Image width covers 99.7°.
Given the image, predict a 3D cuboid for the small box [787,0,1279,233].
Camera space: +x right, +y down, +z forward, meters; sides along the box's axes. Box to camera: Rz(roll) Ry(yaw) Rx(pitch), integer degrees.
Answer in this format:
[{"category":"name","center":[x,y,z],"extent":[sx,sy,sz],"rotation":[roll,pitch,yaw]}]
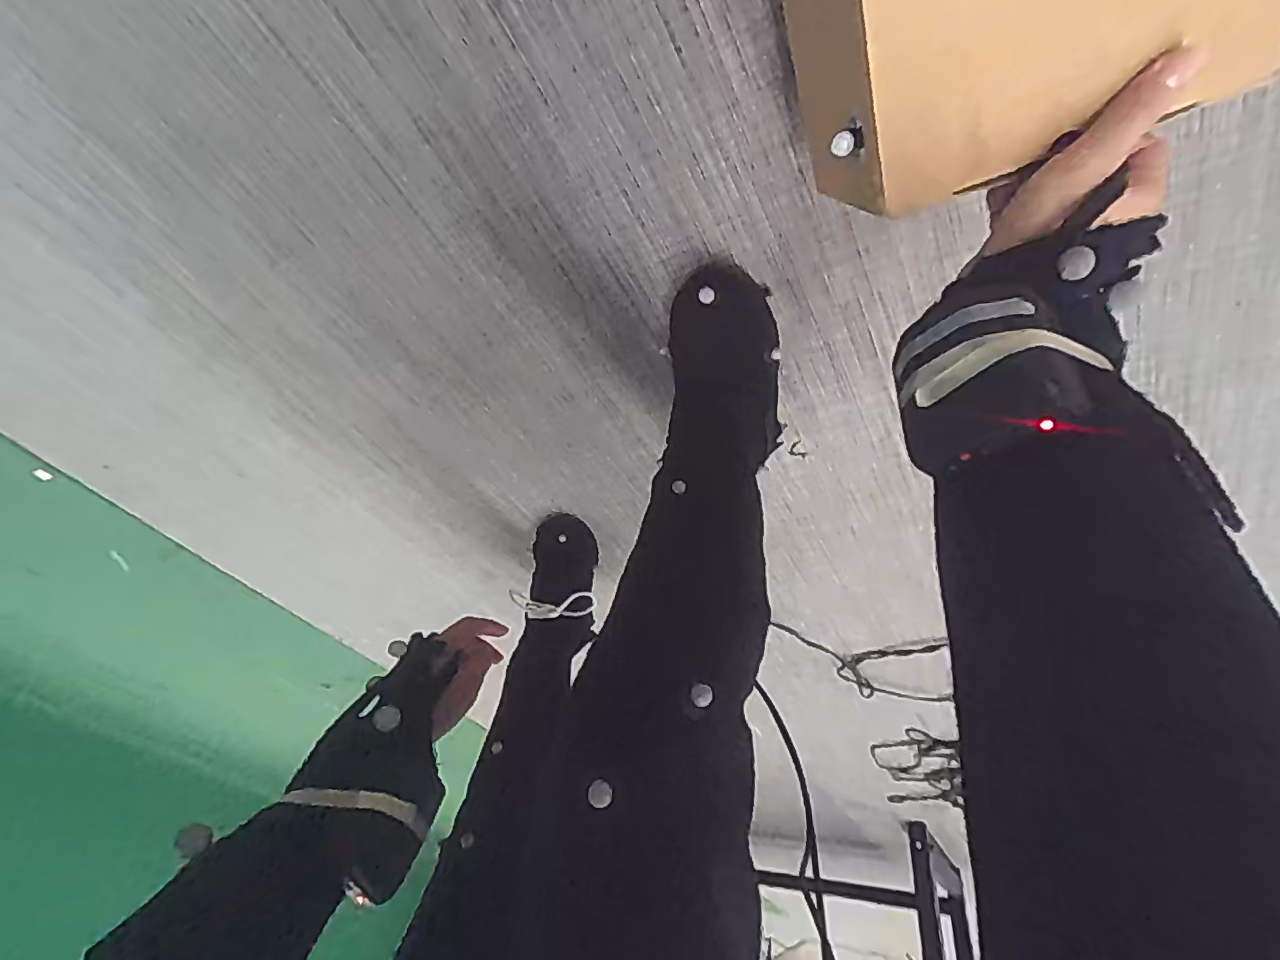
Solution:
[{"category":"small box","center":[0.181,-0.260,0.285],"extent":[0.168,0.176,0.179],"rotation":[-16,122,13]}]
